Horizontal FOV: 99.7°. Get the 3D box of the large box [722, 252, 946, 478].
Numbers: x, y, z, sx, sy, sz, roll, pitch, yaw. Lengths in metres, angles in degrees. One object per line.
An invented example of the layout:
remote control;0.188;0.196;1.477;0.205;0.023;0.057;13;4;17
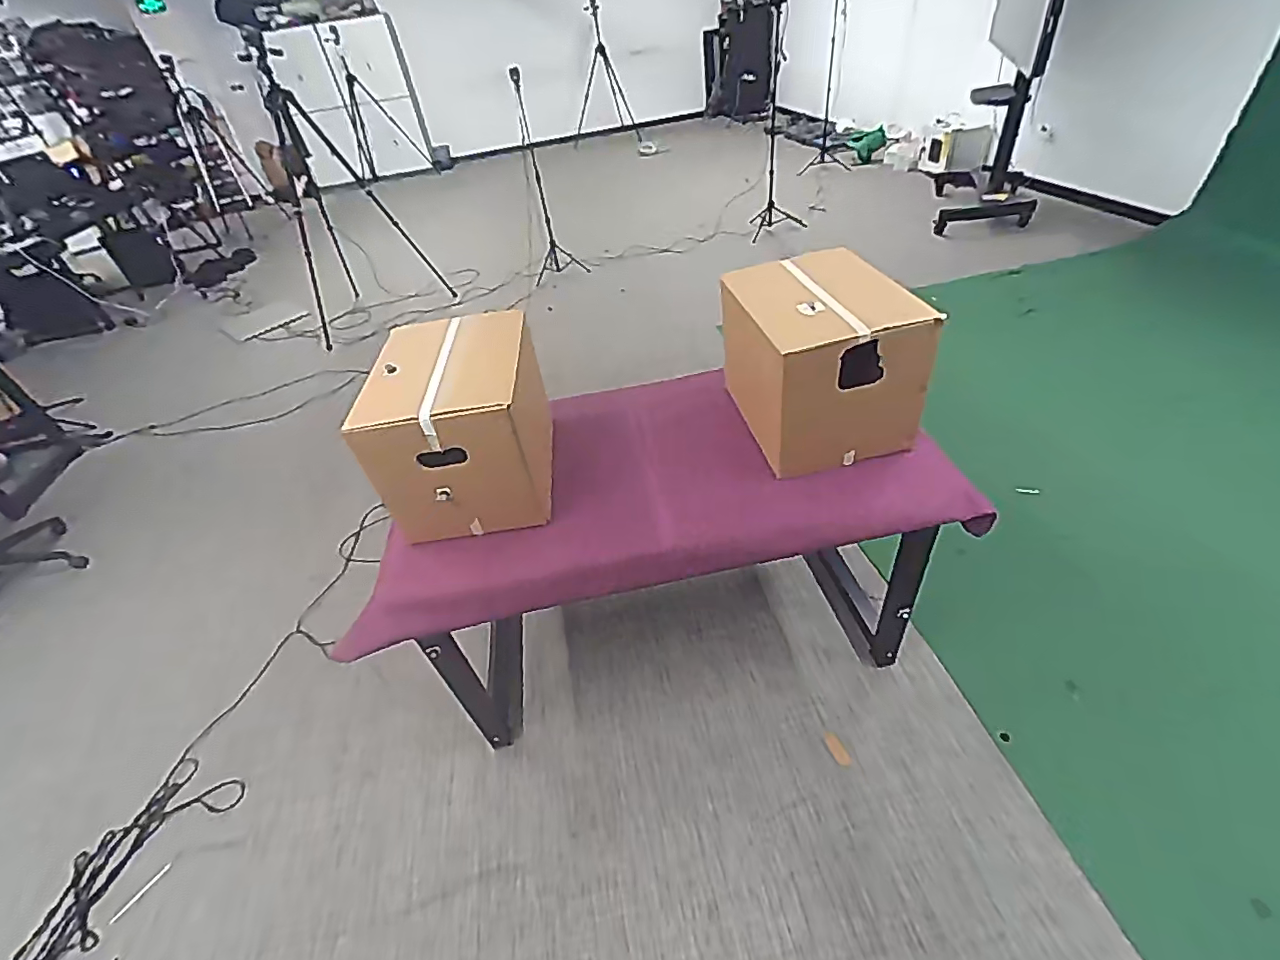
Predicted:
large box;0.396;-0.269;1.223;0.320;0.320;0.408;-14;42;-1
